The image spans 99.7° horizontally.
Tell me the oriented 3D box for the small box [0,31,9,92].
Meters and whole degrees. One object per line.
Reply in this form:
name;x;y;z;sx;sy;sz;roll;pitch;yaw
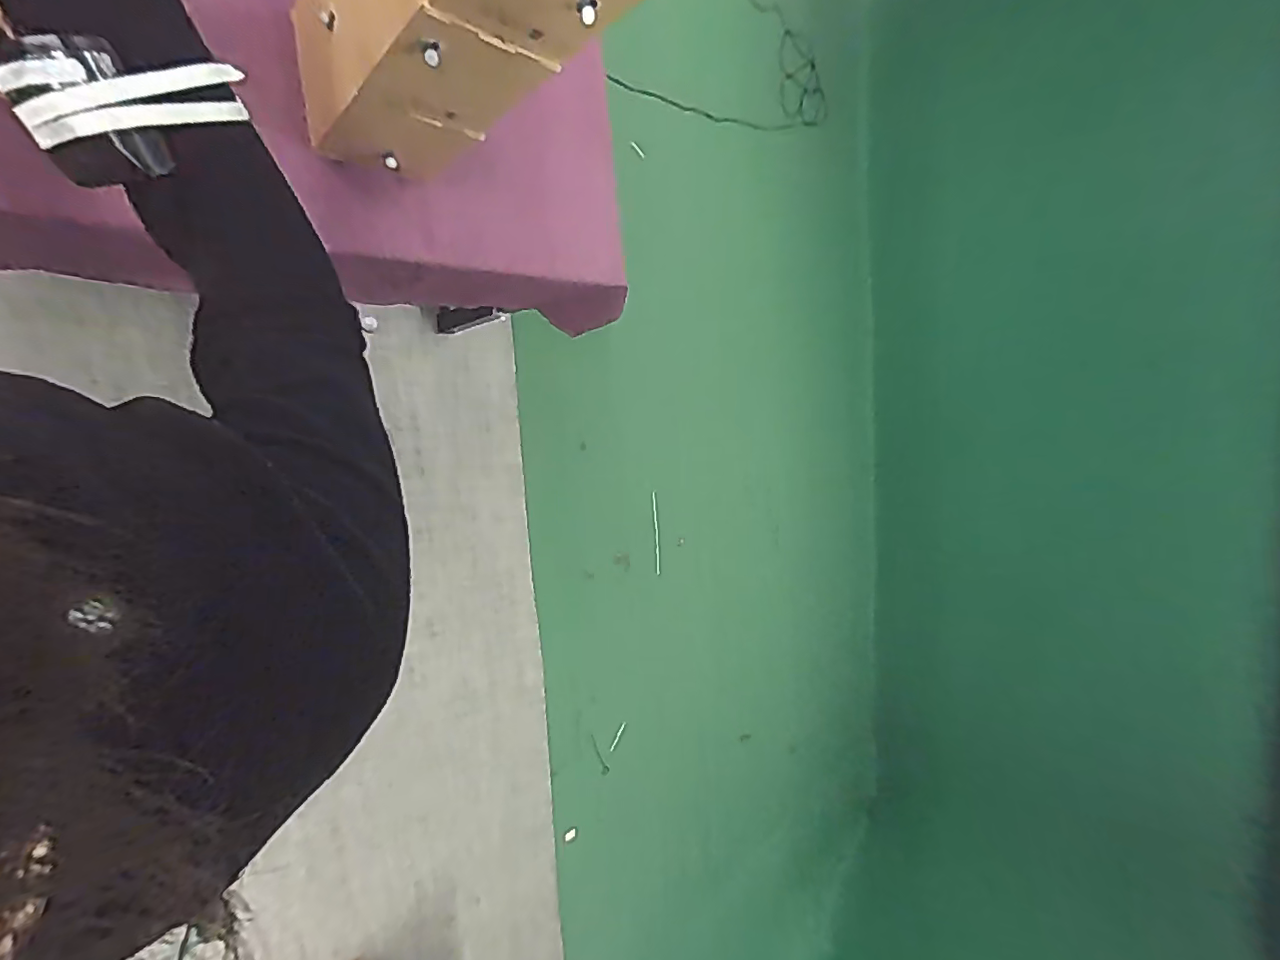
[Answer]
small box;-0.620;-0.436;0.404;0.168;0.176;0.179;-16;102;-46

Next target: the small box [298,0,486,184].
small box;-0.327;-0.526;0.711;0.168;0.176;0.179;-12;100;-45

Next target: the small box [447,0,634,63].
small box;-0.091;-0.528;0.483;0.168;0.176;0.179;-16;102;-46
